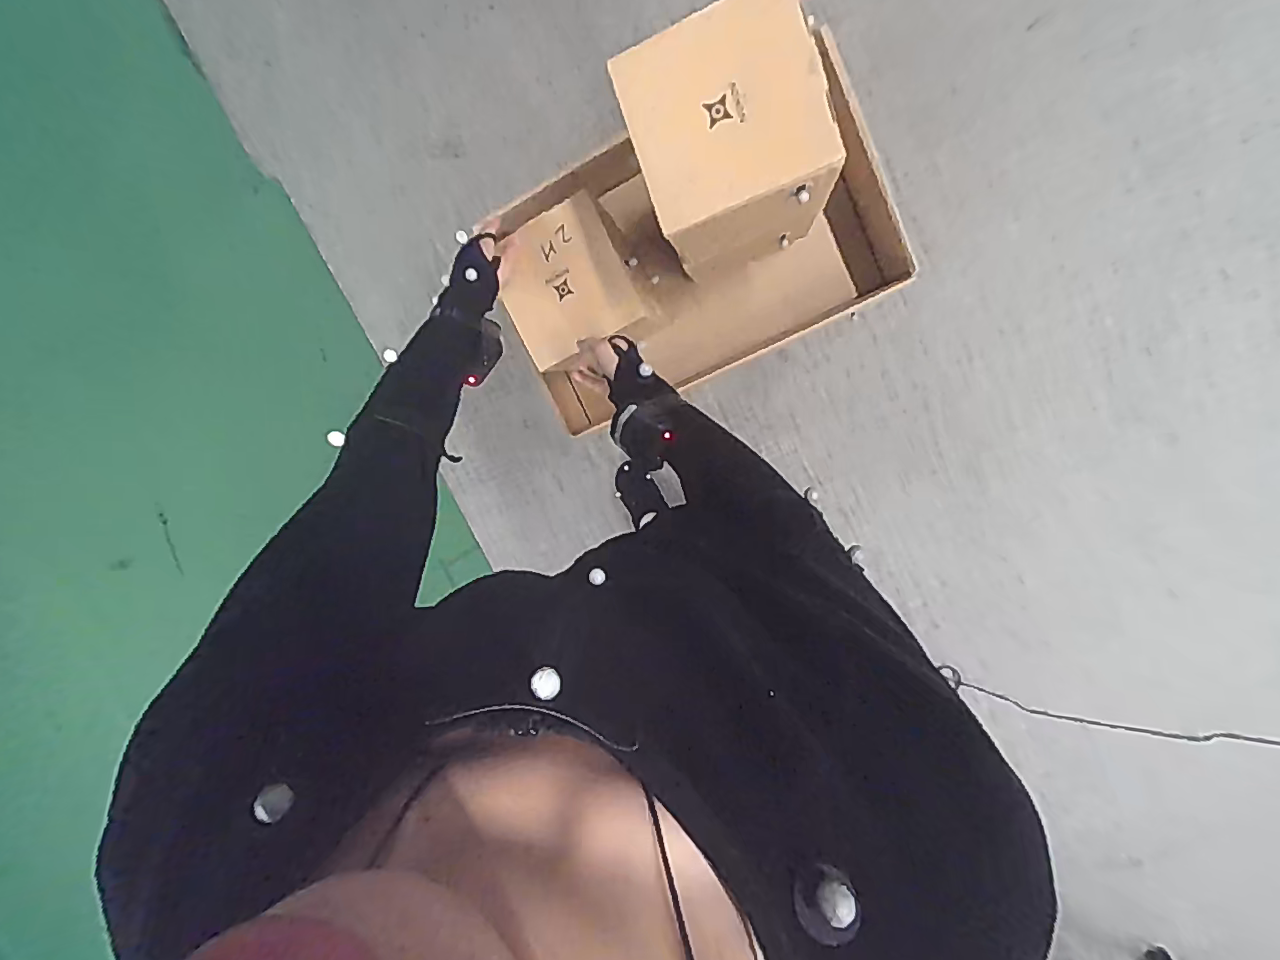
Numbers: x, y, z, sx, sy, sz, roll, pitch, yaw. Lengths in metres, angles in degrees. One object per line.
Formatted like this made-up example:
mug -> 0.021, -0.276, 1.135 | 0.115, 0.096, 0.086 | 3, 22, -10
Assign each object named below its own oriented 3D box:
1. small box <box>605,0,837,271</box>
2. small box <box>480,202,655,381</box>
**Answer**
small box -> 0.088, -0.339, 0.567 | 0.179, 0.176, 0.168 | -18, 98, 15
small box -> -0.090, -0.260, 0.782 | 0.168, 0.176, 0.179 | -24, 97, 14
